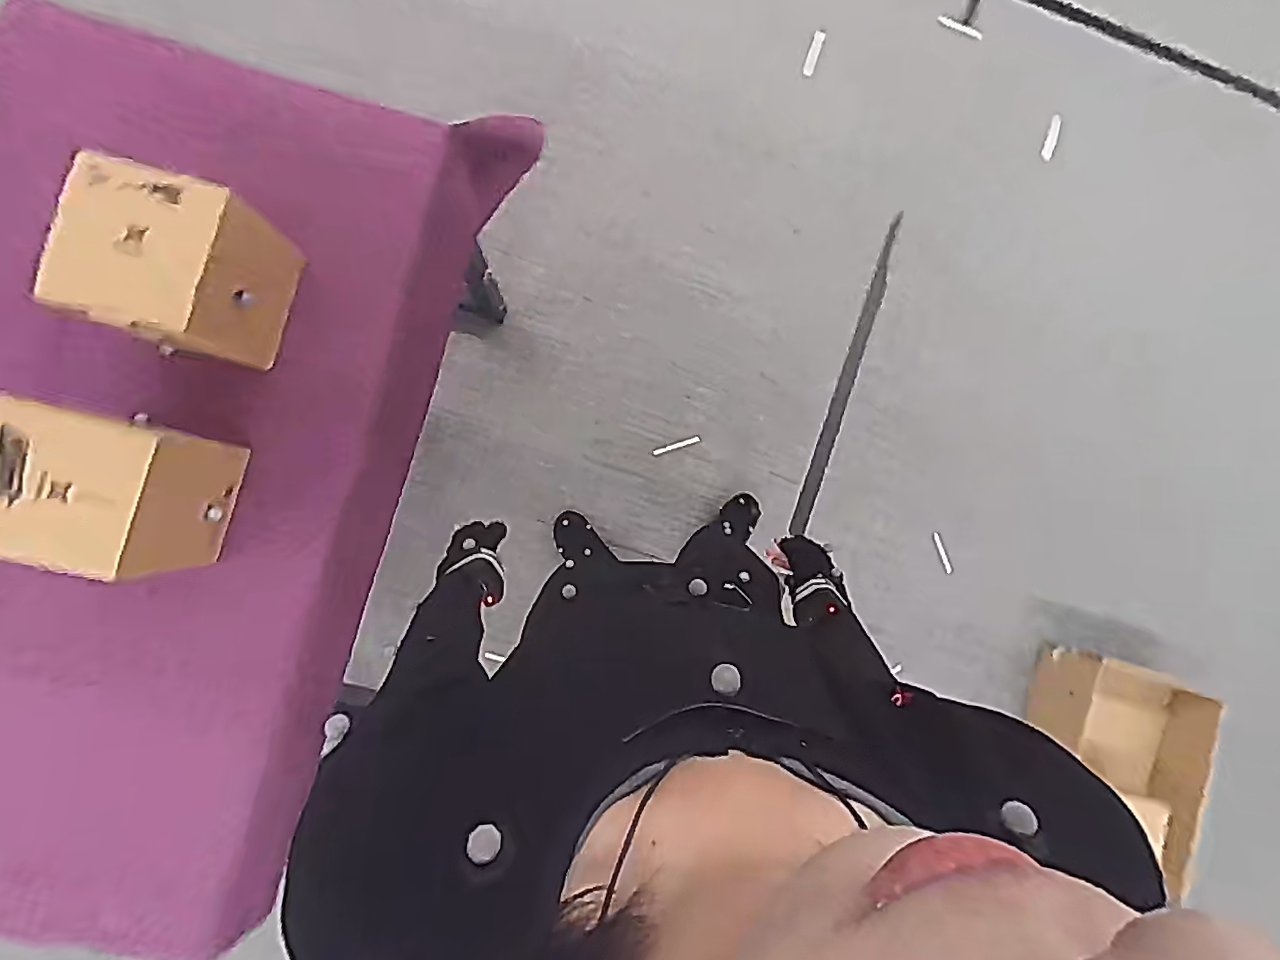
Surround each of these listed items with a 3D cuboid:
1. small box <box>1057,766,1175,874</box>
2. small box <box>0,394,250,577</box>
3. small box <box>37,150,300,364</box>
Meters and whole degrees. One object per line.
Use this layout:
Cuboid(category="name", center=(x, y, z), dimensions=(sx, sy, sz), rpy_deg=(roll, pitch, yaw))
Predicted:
Cuboid(category="small box", center=(1.287, 0.918, 1.474), dimensions=(0.168, 0.176, 0.179), rpy_deg=(15, 84, -5))
Cuboid(category="small box", center=(-0.635, 0.011, 0.660), dimensions=(0.179, 0.176, 0.168), rpy_deg=(15, 86, -5))
Cuboid(category="small box", center=(-0.568, -0.261, 0.680), dimensions=(0.168, 0.176, 0.179), rpy_deg=(14, 87, -4))
